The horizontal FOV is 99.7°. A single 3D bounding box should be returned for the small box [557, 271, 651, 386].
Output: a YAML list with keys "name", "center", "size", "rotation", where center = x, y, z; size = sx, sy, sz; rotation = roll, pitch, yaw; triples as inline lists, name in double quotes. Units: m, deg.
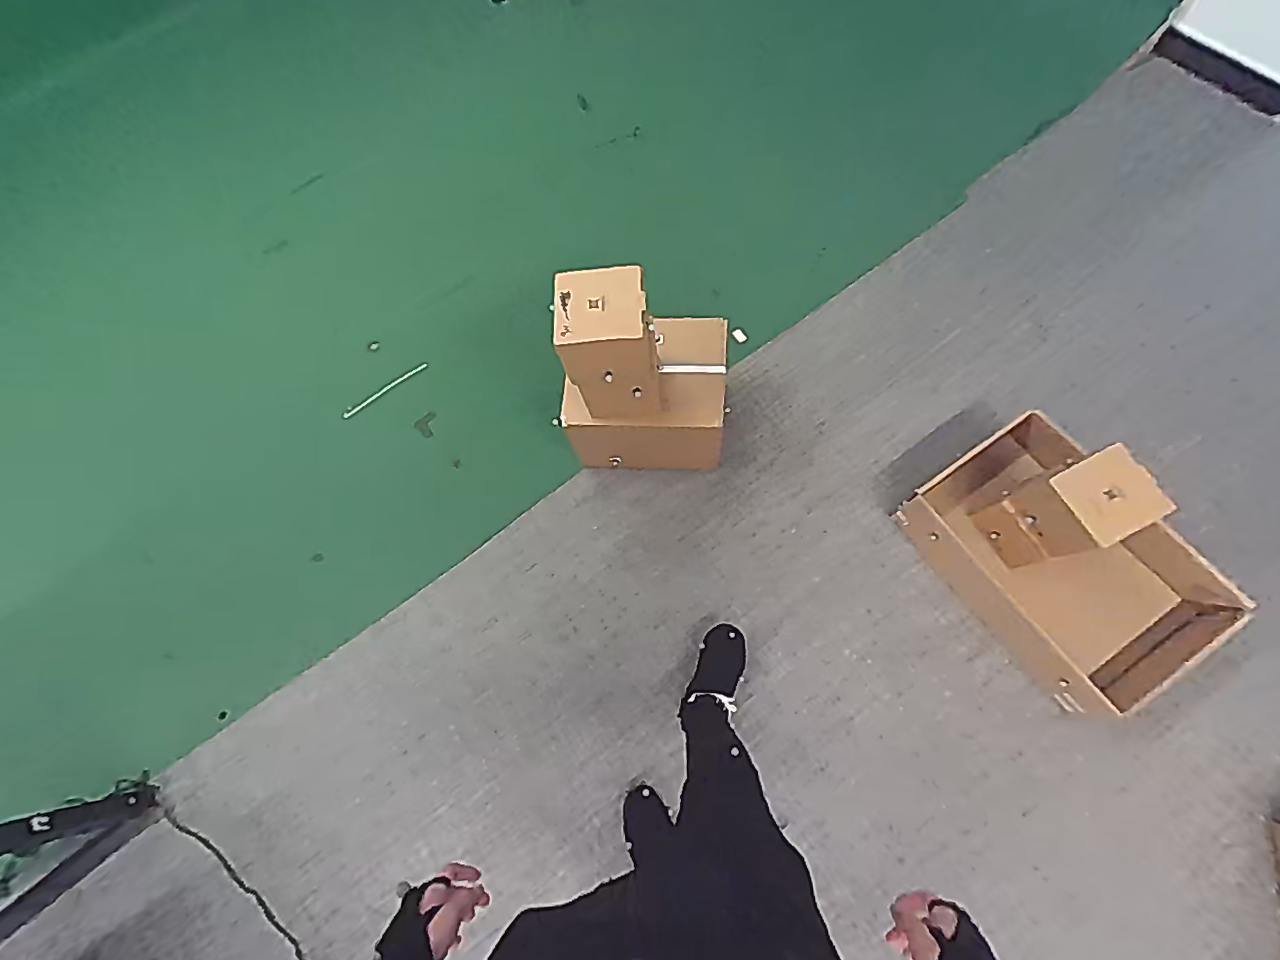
- name: "small box"
  center: [-0.068, -0.307, 1.121]
  size: [0.179, 0.176, 0.168]
  rotation: [-3, 71, 4]

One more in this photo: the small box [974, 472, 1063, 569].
- name: "small box"
  center: [0.969, 0.100, 1.317]
  size: [0.179, 0.176, 0.168]
  rotation: [-31, 74, -3]

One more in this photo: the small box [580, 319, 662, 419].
- name: "small box"
  center: [-0.040, -0.256, 1.275]
  size: [0.179, 0.176, 0.168]
  rotation: [-4, 71, 5]

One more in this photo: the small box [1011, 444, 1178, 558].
- name: "small box"
  center: [0.959, 0.051, 1.162]
  size: [0.179, 0.176, 0.168]
  rotation: [-27, 73, -2]
